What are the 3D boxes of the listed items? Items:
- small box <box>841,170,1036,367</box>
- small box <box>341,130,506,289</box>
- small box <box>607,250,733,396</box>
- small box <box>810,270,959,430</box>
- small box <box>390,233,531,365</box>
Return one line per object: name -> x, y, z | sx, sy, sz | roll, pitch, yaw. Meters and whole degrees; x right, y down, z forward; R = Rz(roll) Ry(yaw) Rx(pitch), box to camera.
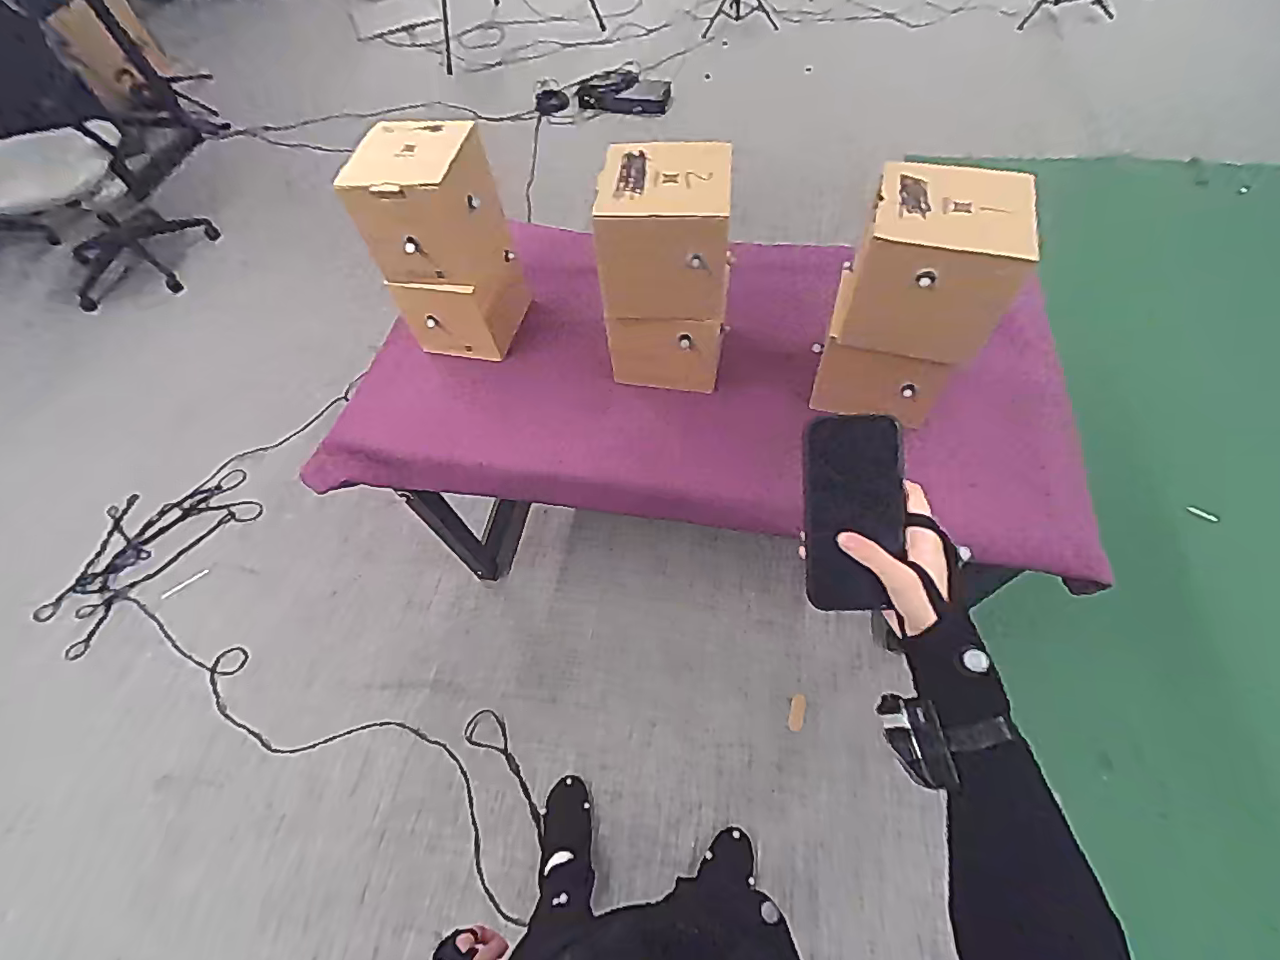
small box -> 0.376, -0.271, 0.706 | 0.179, 0.176, 0.168 | 14, 61, 13
small box -> -0.331, -0.429, 0.869 | 0.168, 0.176, 0.179 | 5, 60, 8
small box -> 0.056, -0.262, 0.922 | 0.179, 0.176, 0.168 | 8, 60, 11
small box -> 0.384, -0.200, 0.855 | 0.179, 0.176, 0.168 | 14, 61, 14
small box -> -0.319, -0.336, 1.005 | 0.168, 0.176, 0.179 | 9, 60, 11
